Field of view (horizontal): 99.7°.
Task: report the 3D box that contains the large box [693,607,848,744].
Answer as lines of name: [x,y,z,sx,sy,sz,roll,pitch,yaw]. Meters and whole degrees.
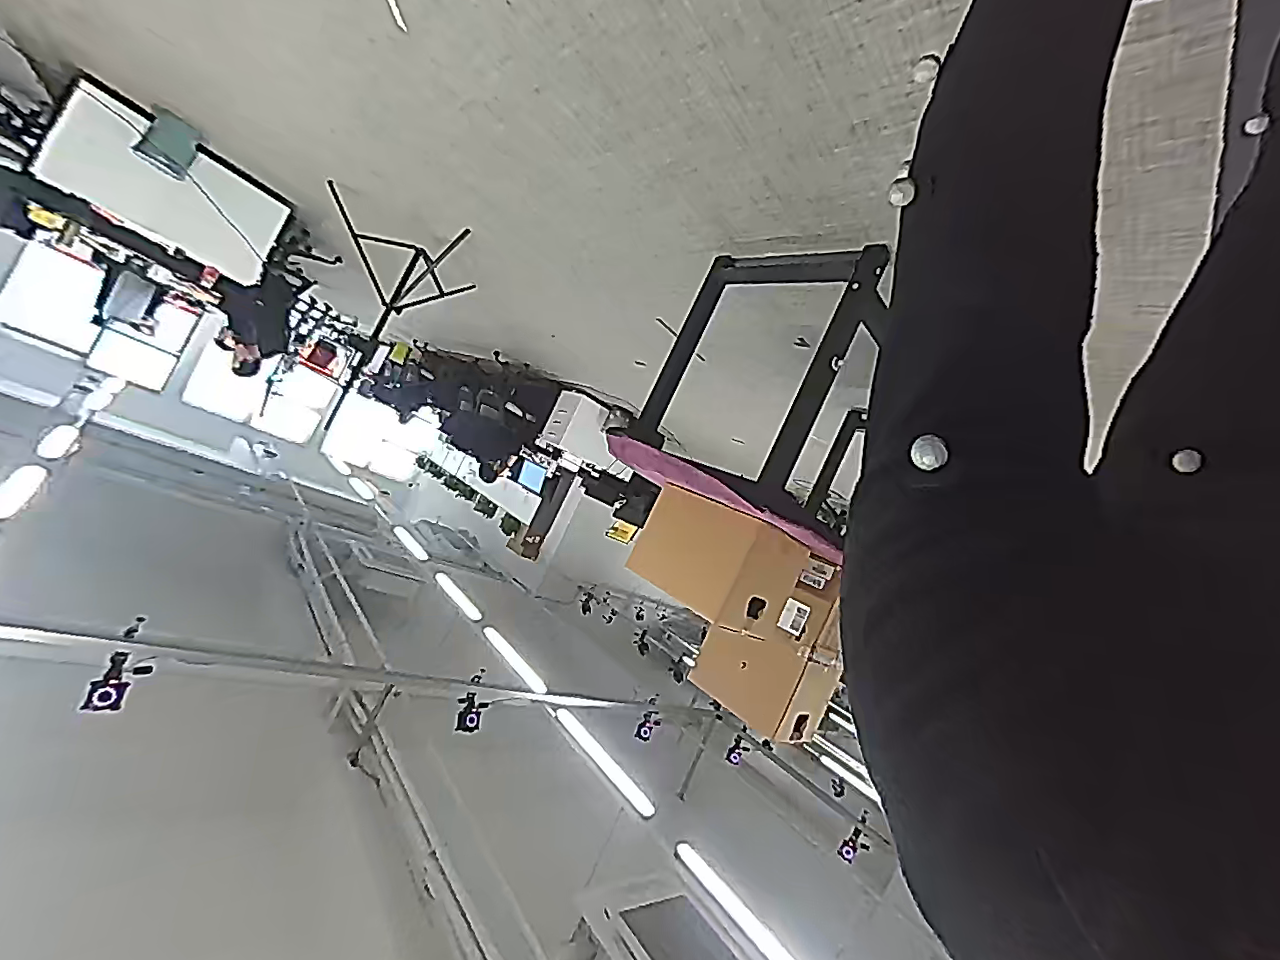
large box: [0.478,0.712,2.004,0.320,0.320,0.408,26,177,-42]
